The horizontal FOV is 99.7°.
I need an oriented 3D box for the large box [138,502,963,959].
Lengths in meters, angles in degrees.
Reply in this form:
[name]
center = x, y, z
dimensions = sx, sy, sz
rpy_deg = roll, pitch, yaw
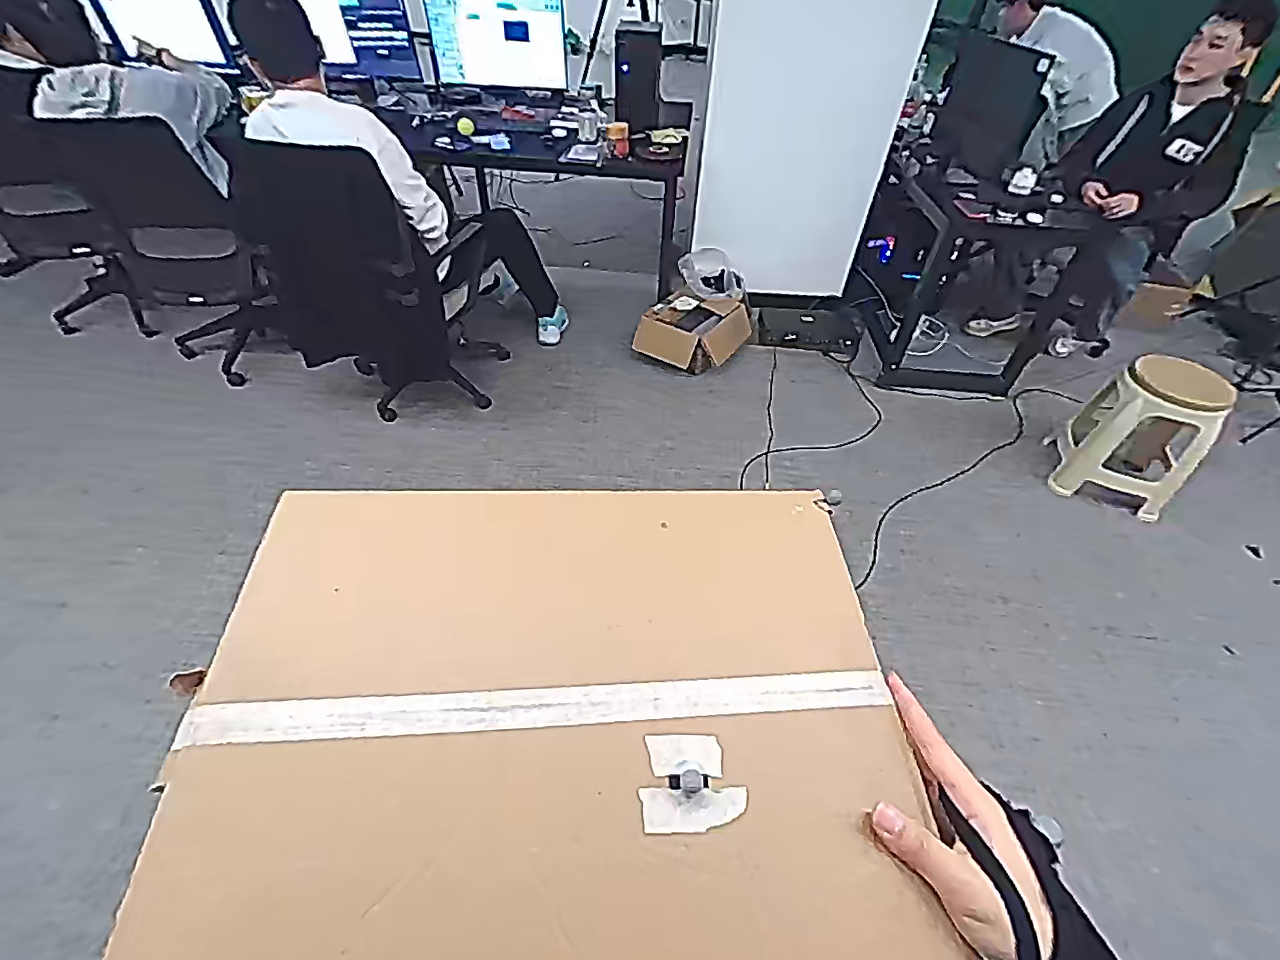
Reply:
[large box]
center = -0.059, 0.231, 0.448
dimensions = 0.408, 0.320, 0.320
rpy_deg = 0, 54, -8
